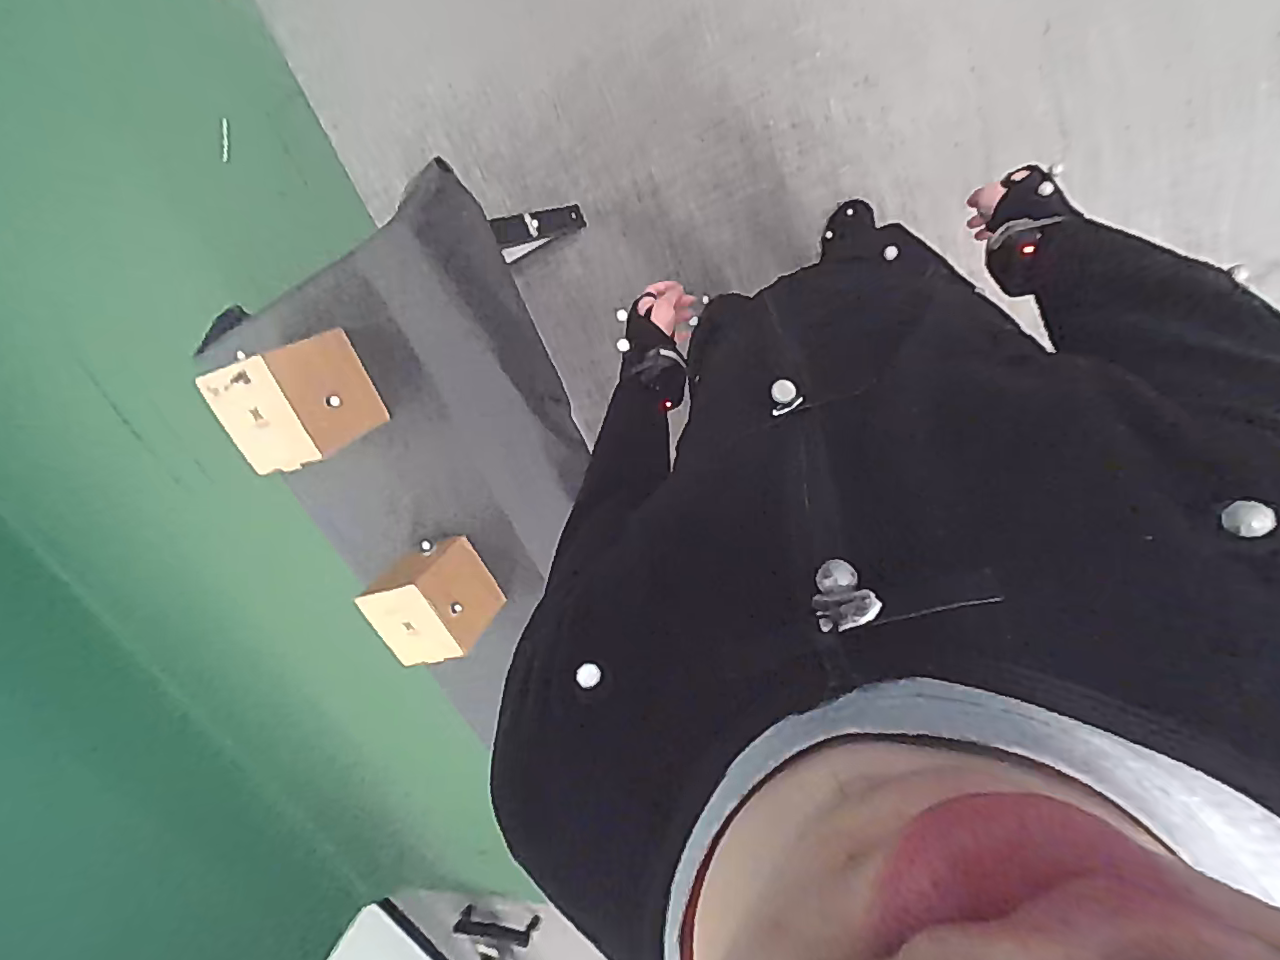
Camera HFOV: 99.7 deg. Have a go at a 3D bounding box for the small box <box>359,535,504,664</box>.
[{"bbox_3d":[-0.407,0.239,1.087,0.168,0.176,0.179,-17,111,24],"label":"small box"}]

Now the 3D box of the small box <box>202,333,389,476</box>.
[{"bbox_3d":[-0.575,-0.130,0.927,0.168,0.176,0.179,-10,116,22],"label":"small box"}]
